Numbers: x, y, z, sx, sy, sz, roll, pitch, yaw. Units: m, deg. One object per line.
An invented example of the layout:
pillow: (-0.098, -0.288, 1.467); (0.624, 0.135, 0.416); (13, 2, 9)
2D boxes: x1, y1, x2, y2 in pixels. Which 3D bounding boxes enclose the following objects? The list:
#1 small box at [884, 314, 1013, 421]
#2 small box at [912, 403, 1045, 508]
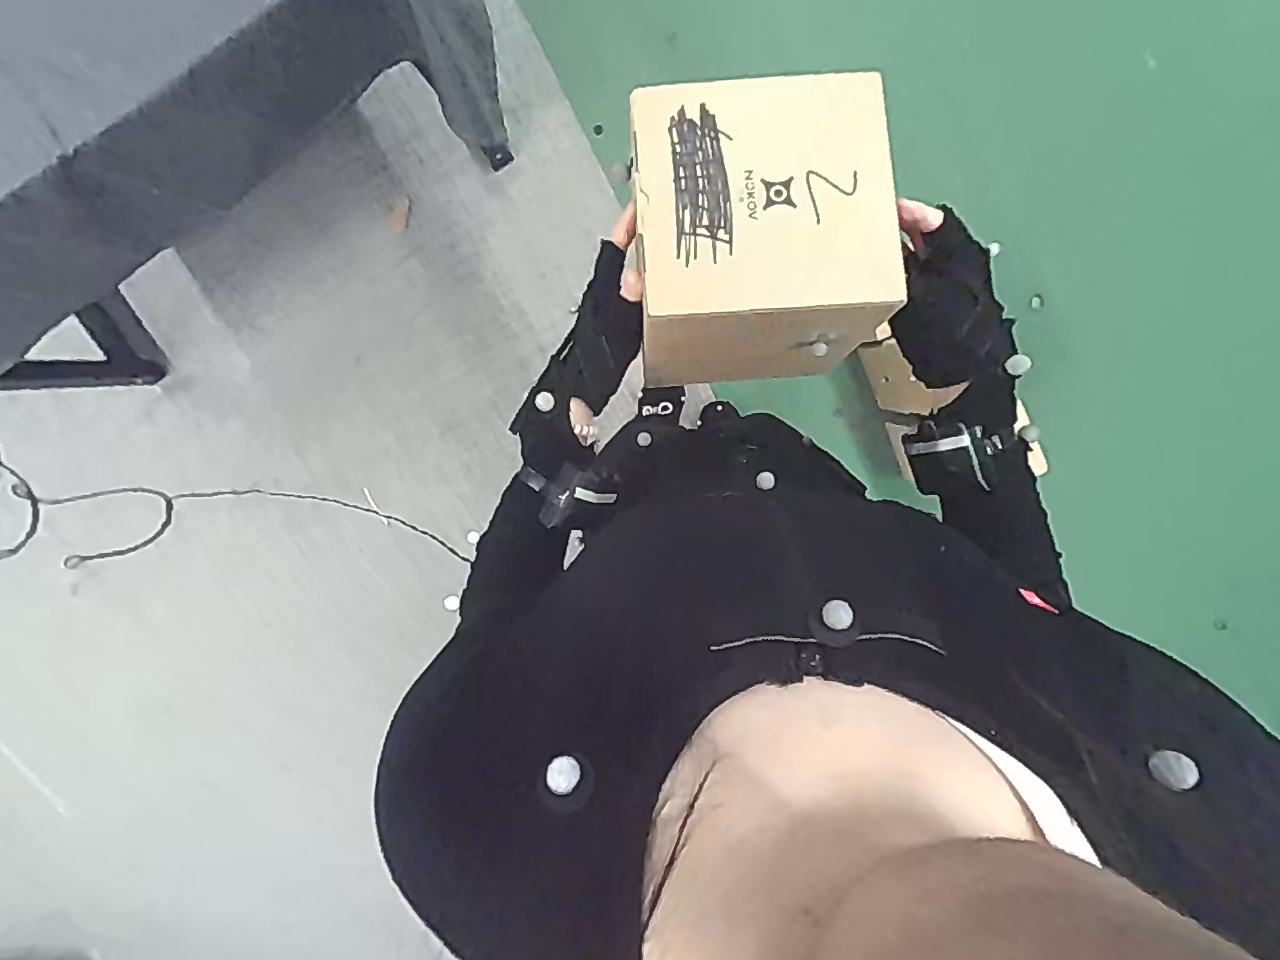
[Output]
small box: (0.670, -0.246, 1.192); (0.168, 0.176, 0.179); (-22, 99, 6)
small box: (0.755, -0.066, 1.224); (0.168, 0.176, 0.179); (-27, 101, 6)
